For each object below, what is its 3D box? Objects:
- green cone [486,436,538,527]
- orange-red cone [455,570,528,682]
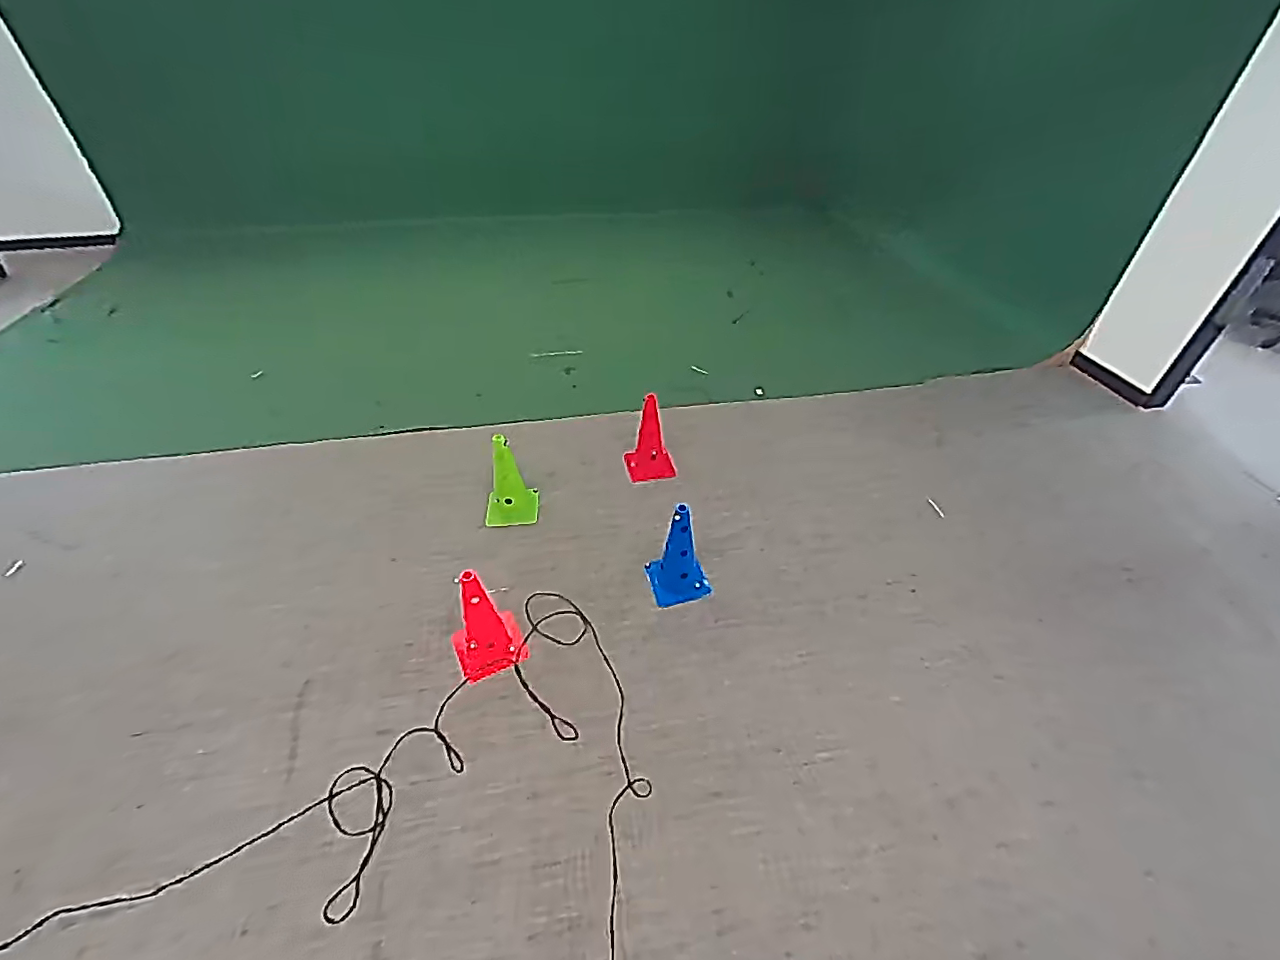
[{"bbox_3d":[-0.511,-0.018,2.056,0.200,0.368,0.202,-5,43,-5],"label":"green cone"},{"bbox_3d":[-0.468,0.393,1.592,0.198,0.360,0.199,-19,43,-22],"label":"orange-red cone"}]
